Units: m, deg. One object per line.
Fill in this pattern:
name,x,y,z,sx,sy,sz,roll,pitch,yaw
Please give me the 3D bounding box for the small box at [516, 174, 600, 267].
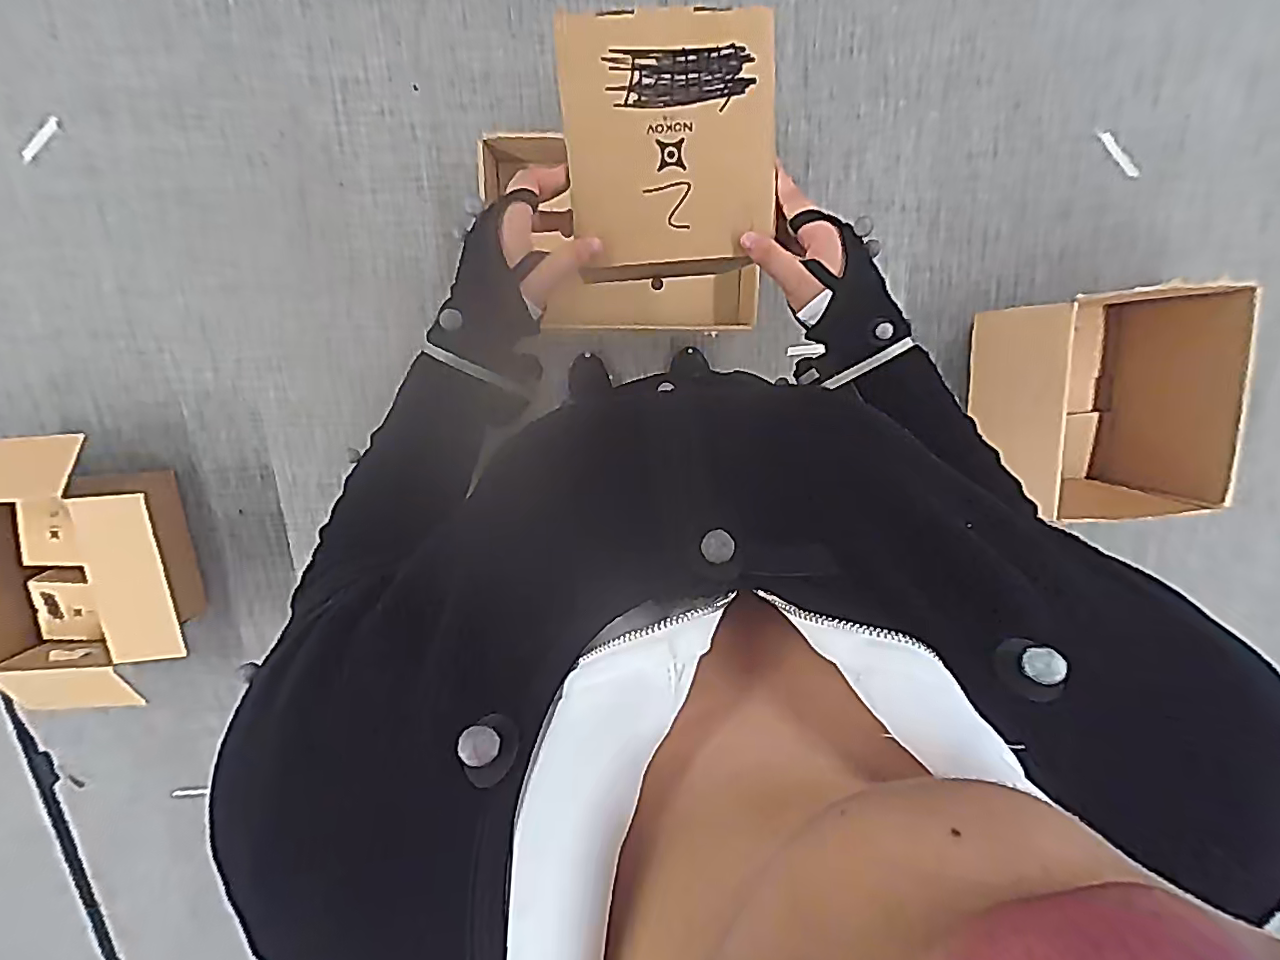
small box,-0.182,-0.585,1.239,0.179,0.176,0.168,0,106,-4
